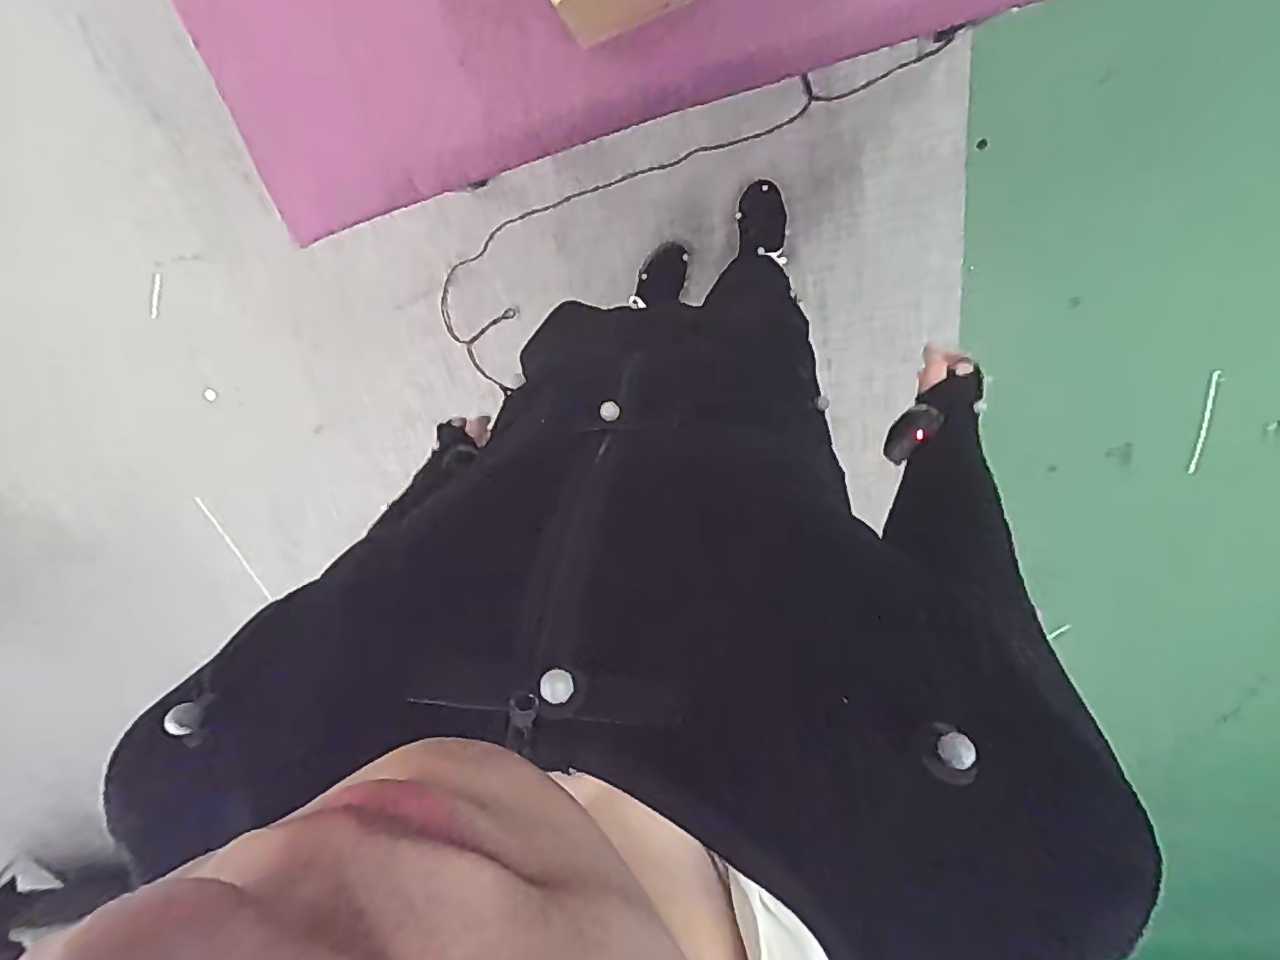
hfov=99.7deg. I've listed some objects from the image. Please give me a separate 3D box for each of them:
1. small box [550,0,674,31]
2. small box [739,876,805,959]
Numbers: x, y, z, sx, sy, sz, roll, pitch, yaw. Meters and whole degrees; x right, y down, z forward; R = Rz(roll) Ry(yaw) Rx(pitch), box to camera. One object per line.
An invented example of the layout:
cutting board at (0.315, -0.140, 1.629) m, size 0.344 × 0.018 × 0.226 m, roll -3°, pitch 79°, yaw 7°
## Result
small box at (-0.025, -0.569, 0.515) m, size 0.168 × 0.176 × 0.179 m, roll -14°, pitch 115°, yaw 12°
small box at (0.416, 1.393, 1.721) m, size 0.168 × 0.176 × 0.179 m, roll -12°, pitch 116°, yaw 12°
